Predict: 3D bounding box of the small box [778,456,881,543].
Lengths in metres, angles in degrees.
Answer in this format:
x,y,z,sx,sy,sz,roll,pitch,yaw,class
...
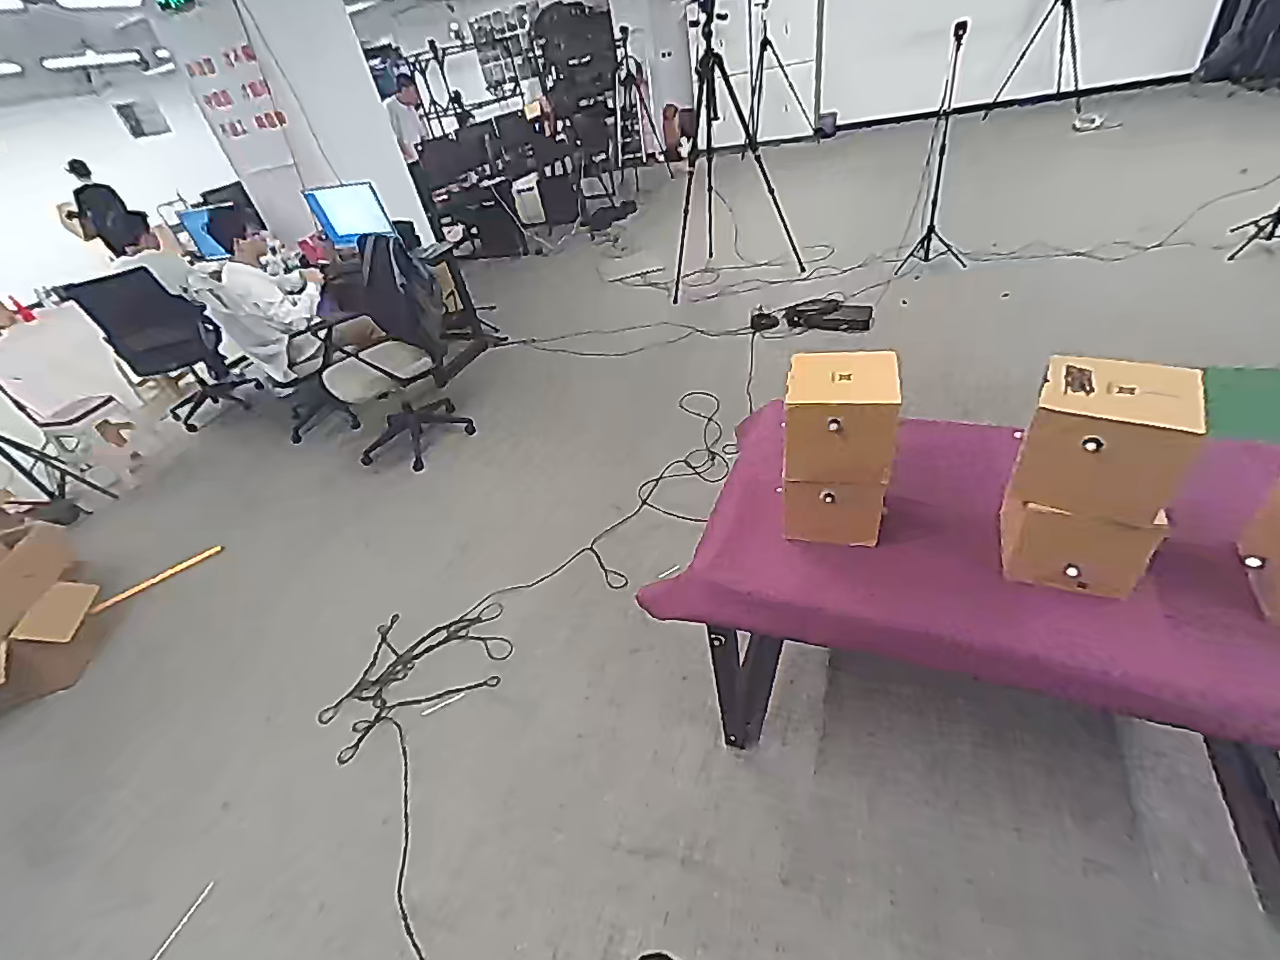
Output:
x,y,z,sx,sy,sz,roll,pitch,yaw,class
0.371,0.005,1.056,0.179,0.176,0.168,5,42,20,small box

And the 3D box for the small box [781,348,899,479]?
x,y,z,sx,sy,sz,roll,pitch,yaw,class
0.346,-0.115,0.951,0.179,0.176,0.168,3,42,19,small box

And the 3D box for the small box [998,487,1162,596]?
x,y,z,sx,sy,sz,roll,pitch,yaw,class
0.707,0.060,0.894,0.168,0.176,0.179,9,44,26,small box

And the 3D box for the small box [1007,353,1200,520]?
x,y,z,sx,sy,sz,roll,pitch,yaw,class
0.668,-0.065,0.795,0.179,0.176,0.168,18,48,32,small box

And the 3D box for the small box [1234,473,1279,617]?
x,y,z,sx,sy,sz,roll,pitch,yaw,class
1.000,0.105,0.757,0.168,0.176,0.179,10,44,27,small box
